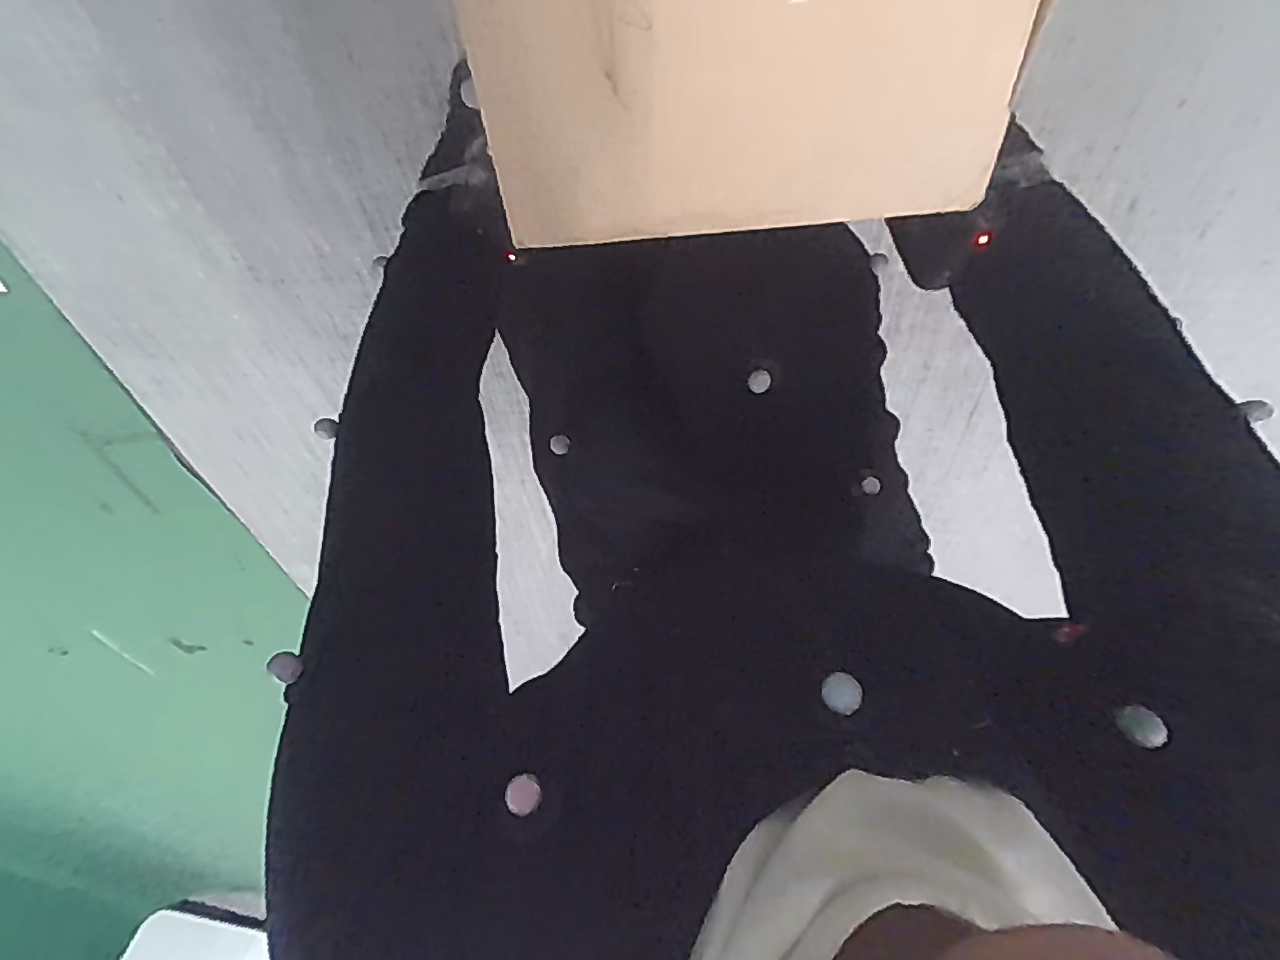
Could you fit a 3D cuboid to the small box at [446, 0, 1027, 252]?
[{"bbox_3d":[0.030,-0.208,0.211,0.179,0.176,0.168,-2,133,7],"label":"small box"}]
